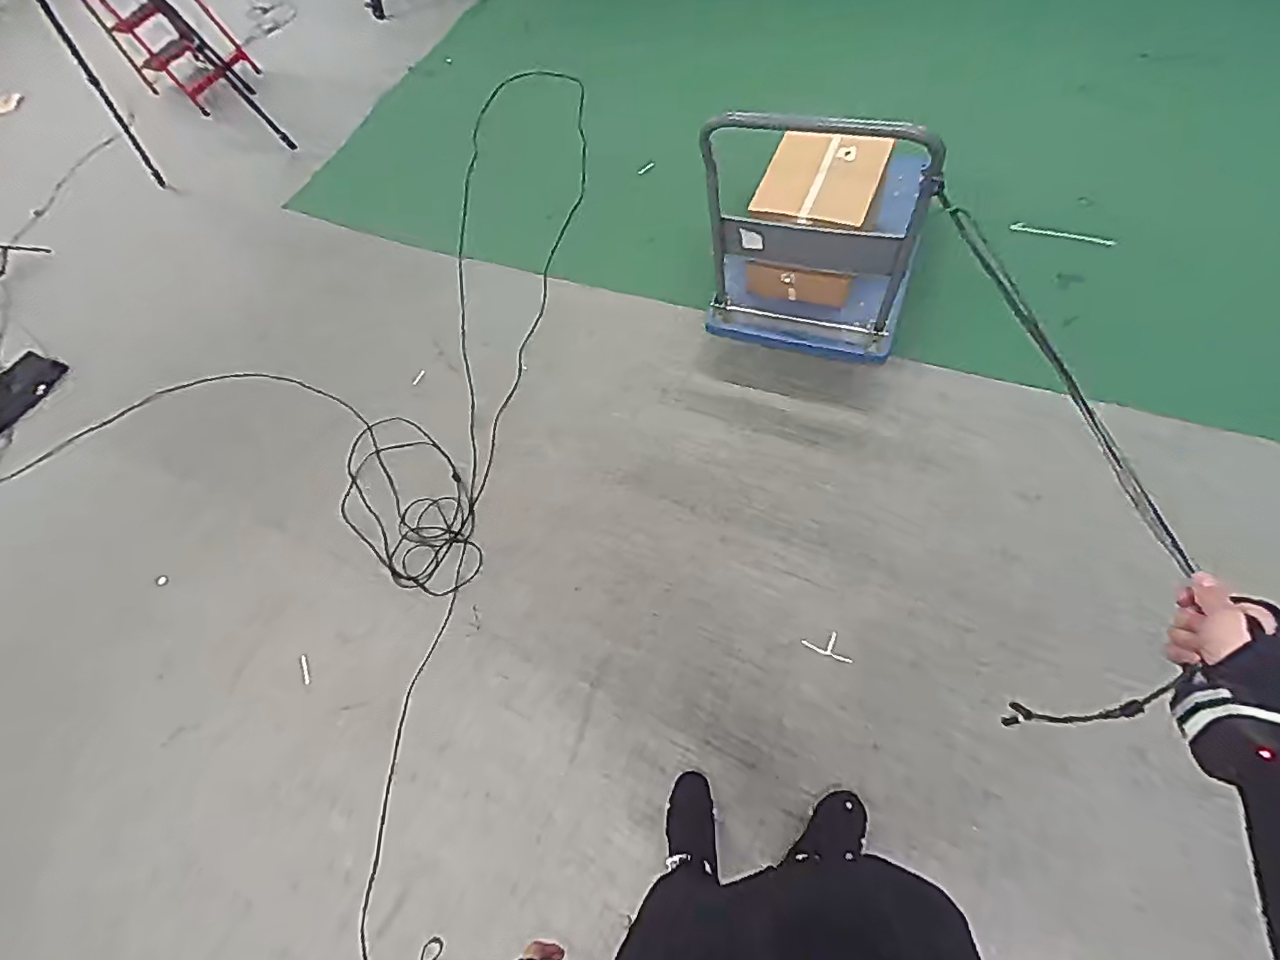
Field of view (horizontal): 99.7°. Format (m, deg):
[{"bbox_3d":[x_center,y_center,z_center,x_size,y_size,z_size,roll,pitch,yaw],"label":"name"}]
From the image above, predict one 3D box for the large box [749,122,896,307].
[{"bbox_3d":[0.541,-0.802,1.647,0.320,0.320,0.408,19,70,18],"label":"large box"}]
